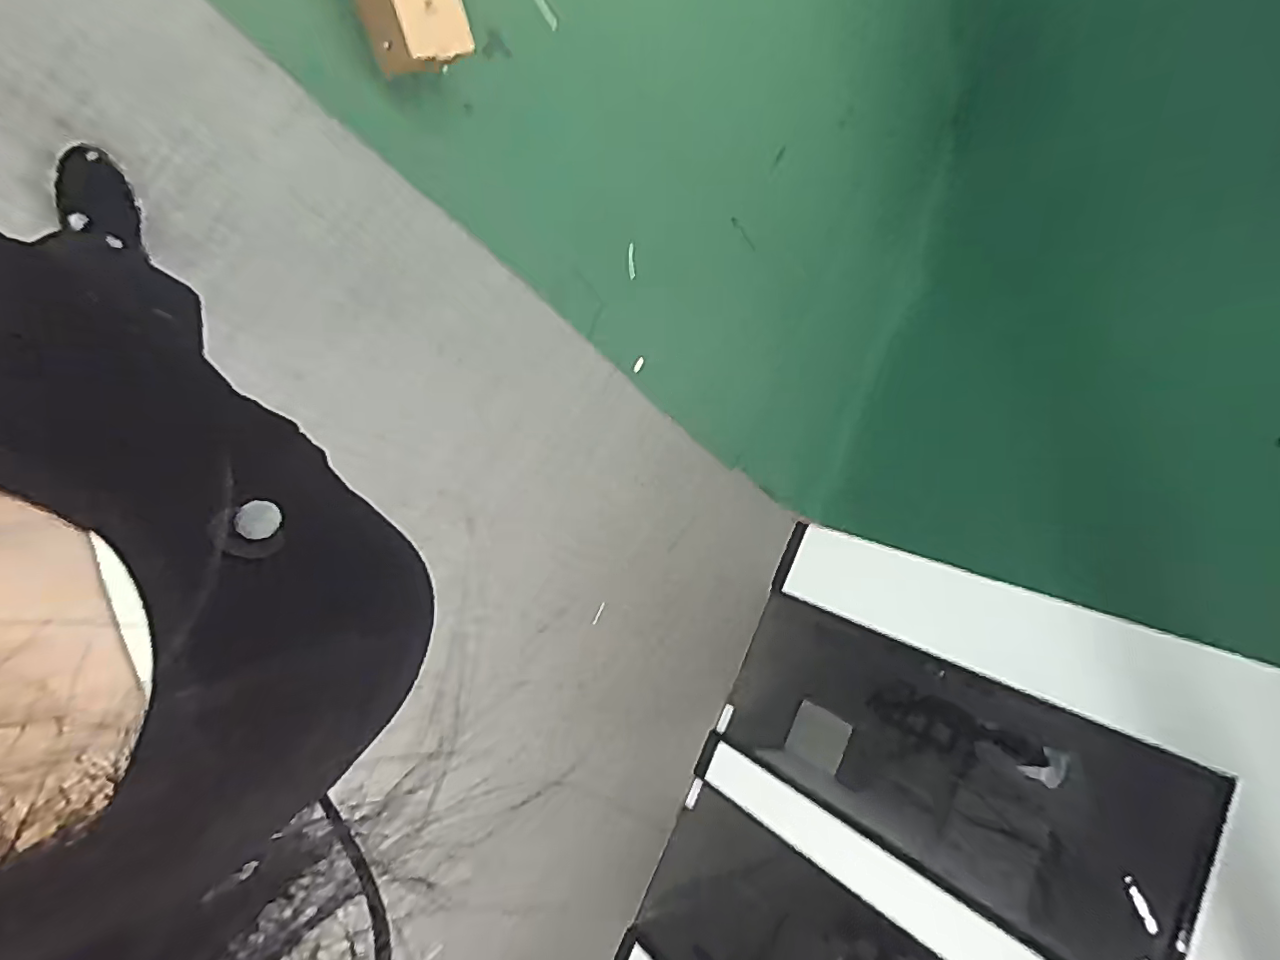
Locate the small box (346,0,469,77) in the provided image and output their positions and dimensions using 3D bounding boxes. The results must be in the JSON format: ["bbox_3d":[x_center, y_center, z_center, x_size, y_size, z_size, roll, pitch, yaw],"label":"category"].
[{"bbox_3d":[-0.521,-1.022,1.204,0.168,0.176,0.179,-39,130,-33],"label":"small box"}]
